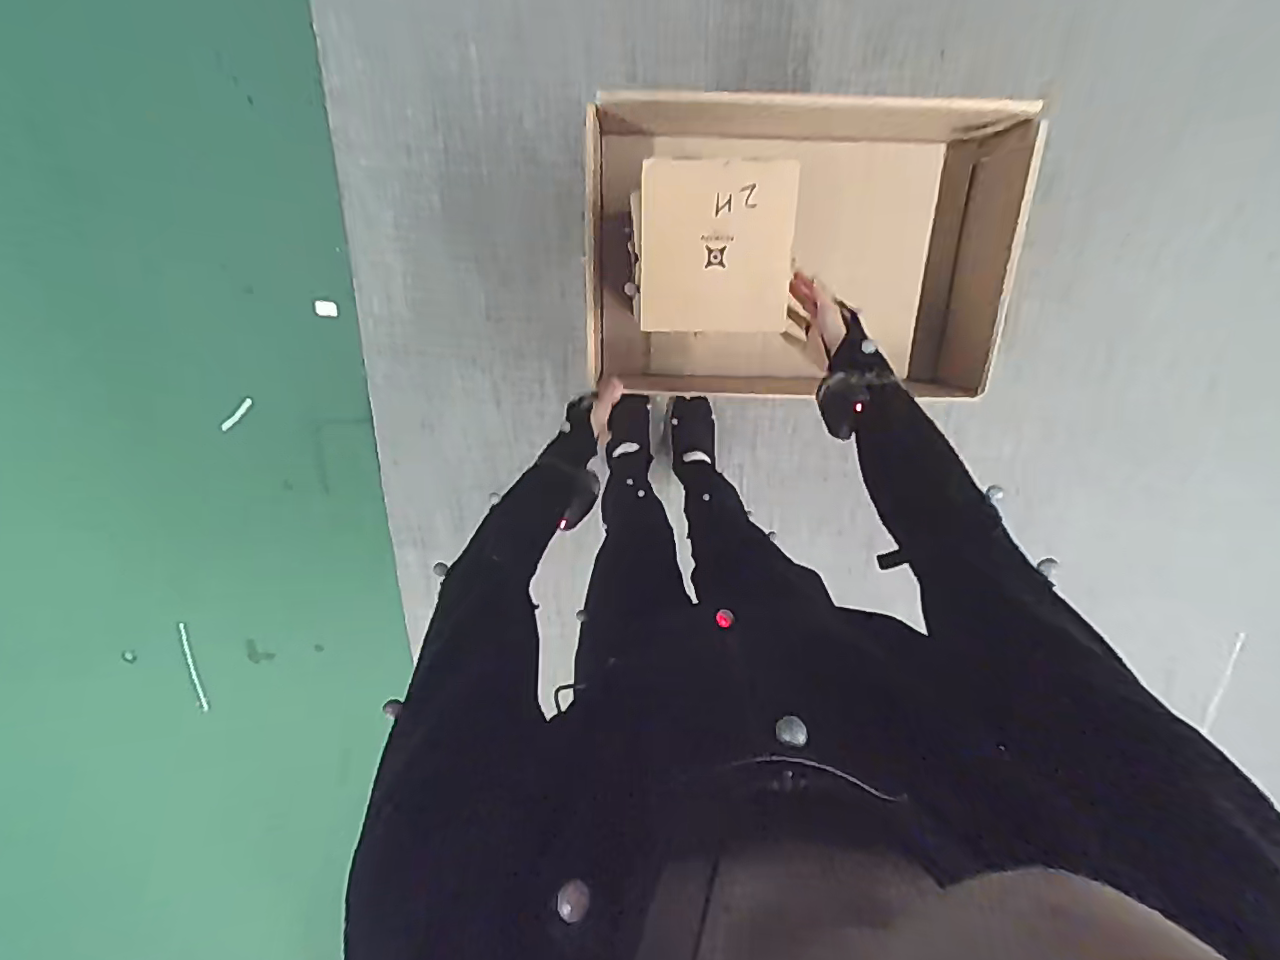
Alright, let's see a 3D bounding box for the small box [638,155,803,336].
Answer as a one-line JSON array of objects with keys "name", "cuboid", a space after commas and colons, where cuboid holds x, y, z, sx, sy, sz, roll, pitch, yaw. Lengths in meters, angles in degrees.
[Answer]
[{"name": "small box", "cuboid": [0.083, -0.271, 0.650, 0.168, 0.176, 0.179, 1, 108, 0]}]
